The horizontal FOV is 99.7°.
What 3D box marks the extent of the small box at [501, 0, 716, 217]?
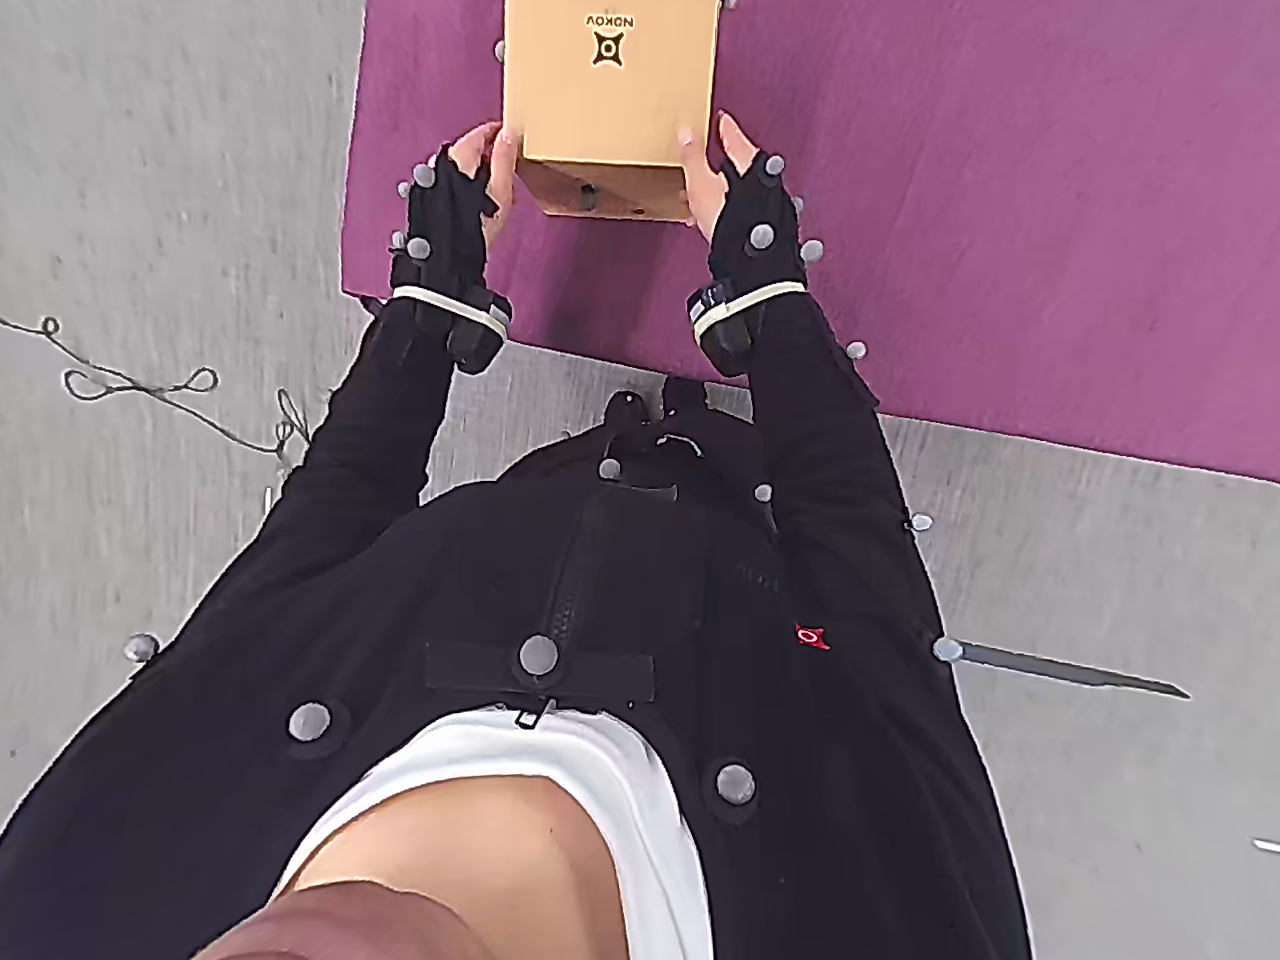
[{"bbox_3d":[-0.021,-0.355,0.494,0.168,0.176,0.179,4,101,2],"label":"small box"}]
